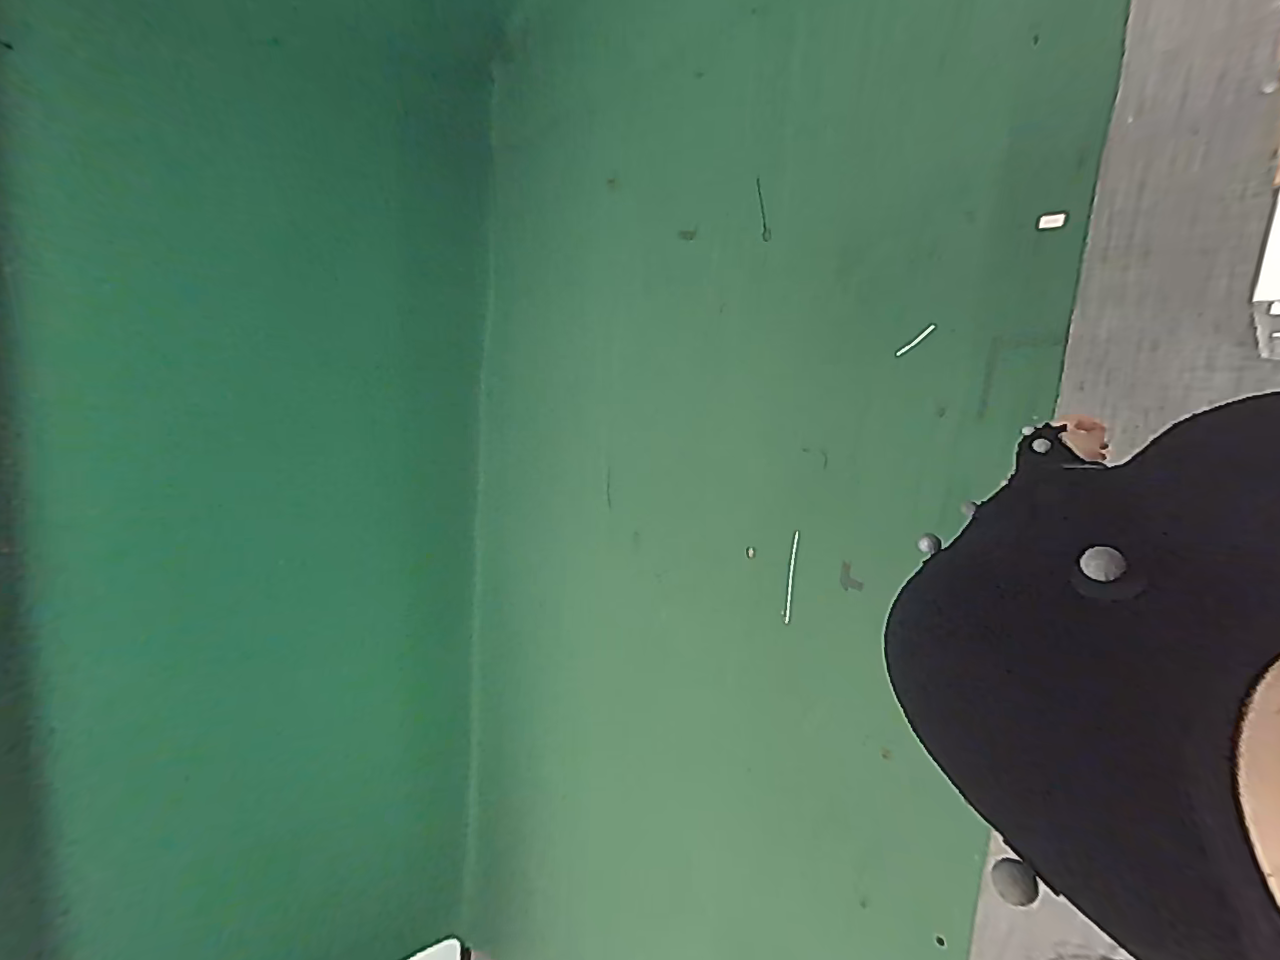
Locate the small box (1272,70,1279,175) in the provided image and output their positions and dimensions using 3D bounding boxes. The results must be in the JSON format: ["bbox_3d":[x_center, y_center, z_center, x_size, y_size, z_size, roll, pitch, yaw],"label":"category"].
[{"bbox_3d":[0.720,-0.405,0.491,0.179,0.176,0.168,9,99,48],"label":"small box"}]
